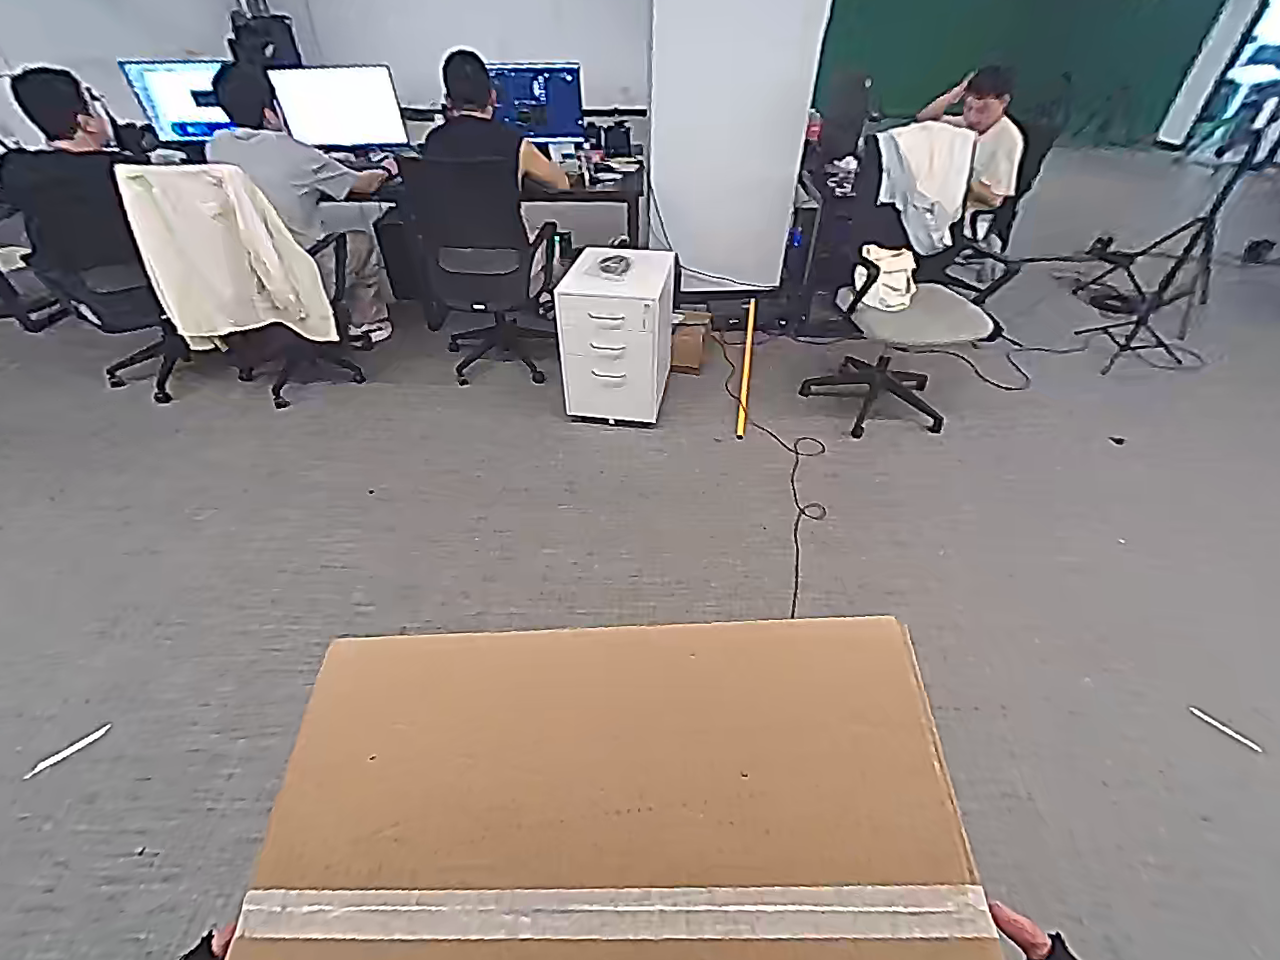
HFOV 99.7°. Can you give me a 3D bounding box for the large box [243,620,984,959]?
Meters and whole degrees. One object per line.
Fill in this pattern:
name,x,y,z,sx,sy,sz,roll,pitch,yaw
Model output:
large box,-0.006,0.320,0.422,0.408,0.320,0.320,-4,54,5
